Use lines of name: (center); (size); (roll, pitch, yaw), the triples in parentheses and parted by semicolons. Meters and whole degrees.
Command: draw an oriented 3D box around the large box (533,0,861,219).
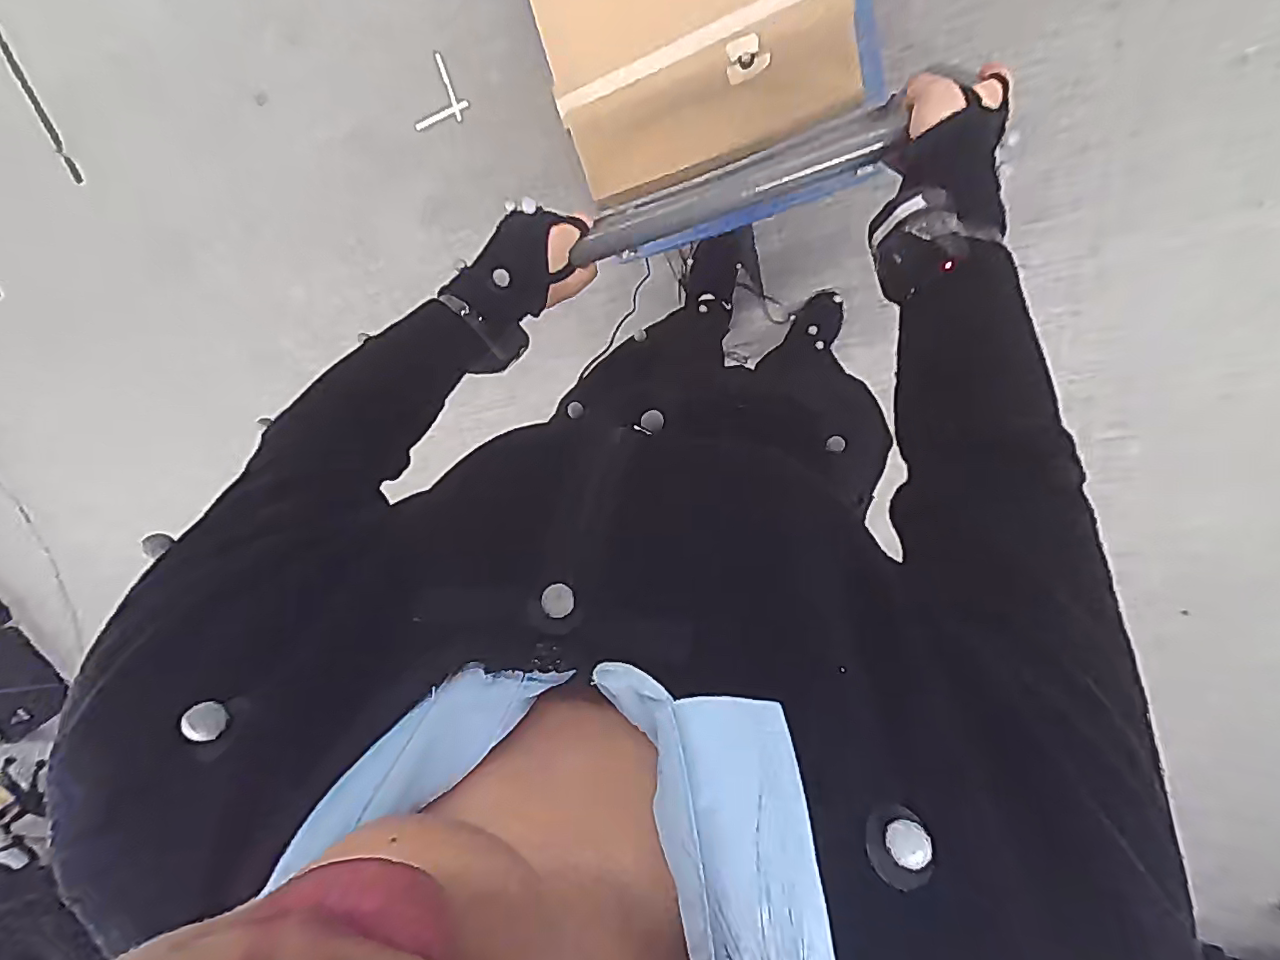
large box: (0.105, -0.660, 0.885); (0.408, 0.320, 0.320); (-12, 112, 19)
